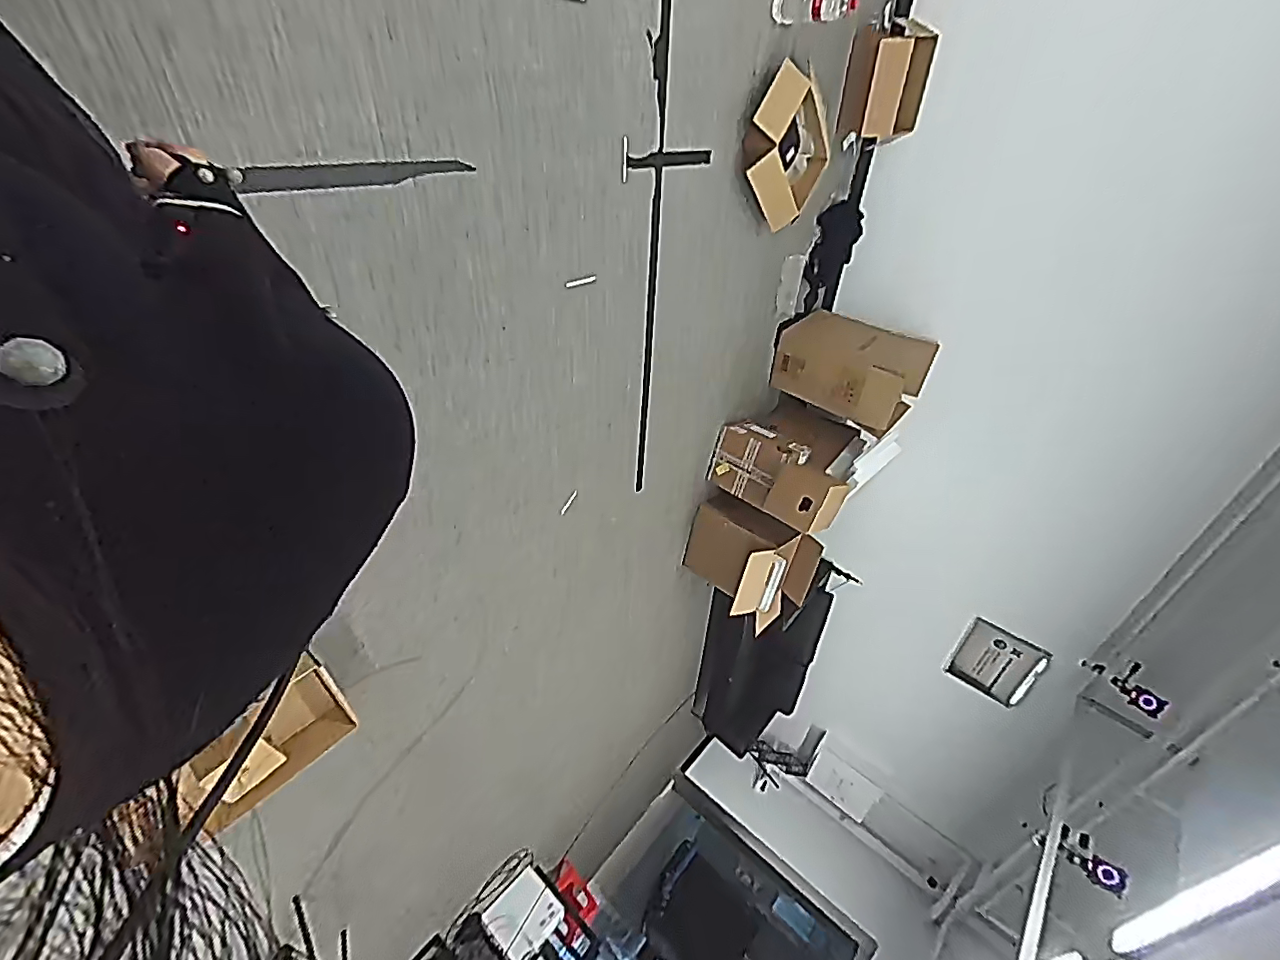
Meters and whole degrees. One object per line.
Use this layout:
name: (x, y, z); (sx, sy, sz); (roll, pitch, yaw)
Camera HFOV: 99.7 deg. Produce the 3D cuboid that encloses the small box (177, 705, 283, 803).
small box: (-1.214, 0.807, 1.604); (0.168, 0.176, 0.179); (-41, 144, -32)
